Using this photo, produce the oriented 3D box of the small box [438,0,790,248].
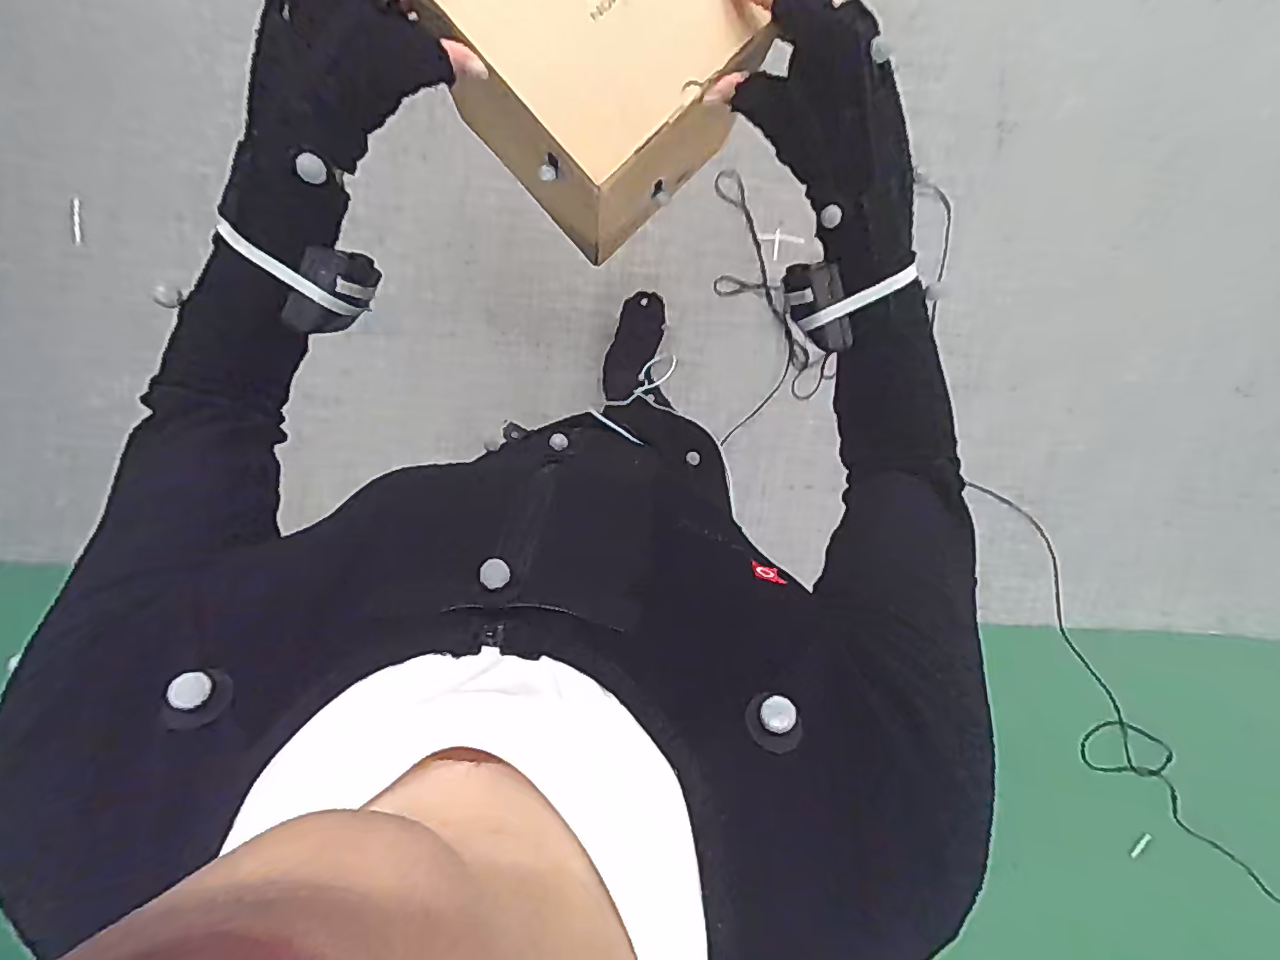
[{"bbox_3d":[-0.029,-0.313,0.409,0.168,0.176,0.179,-43,99,0],"label":"small box"}]
